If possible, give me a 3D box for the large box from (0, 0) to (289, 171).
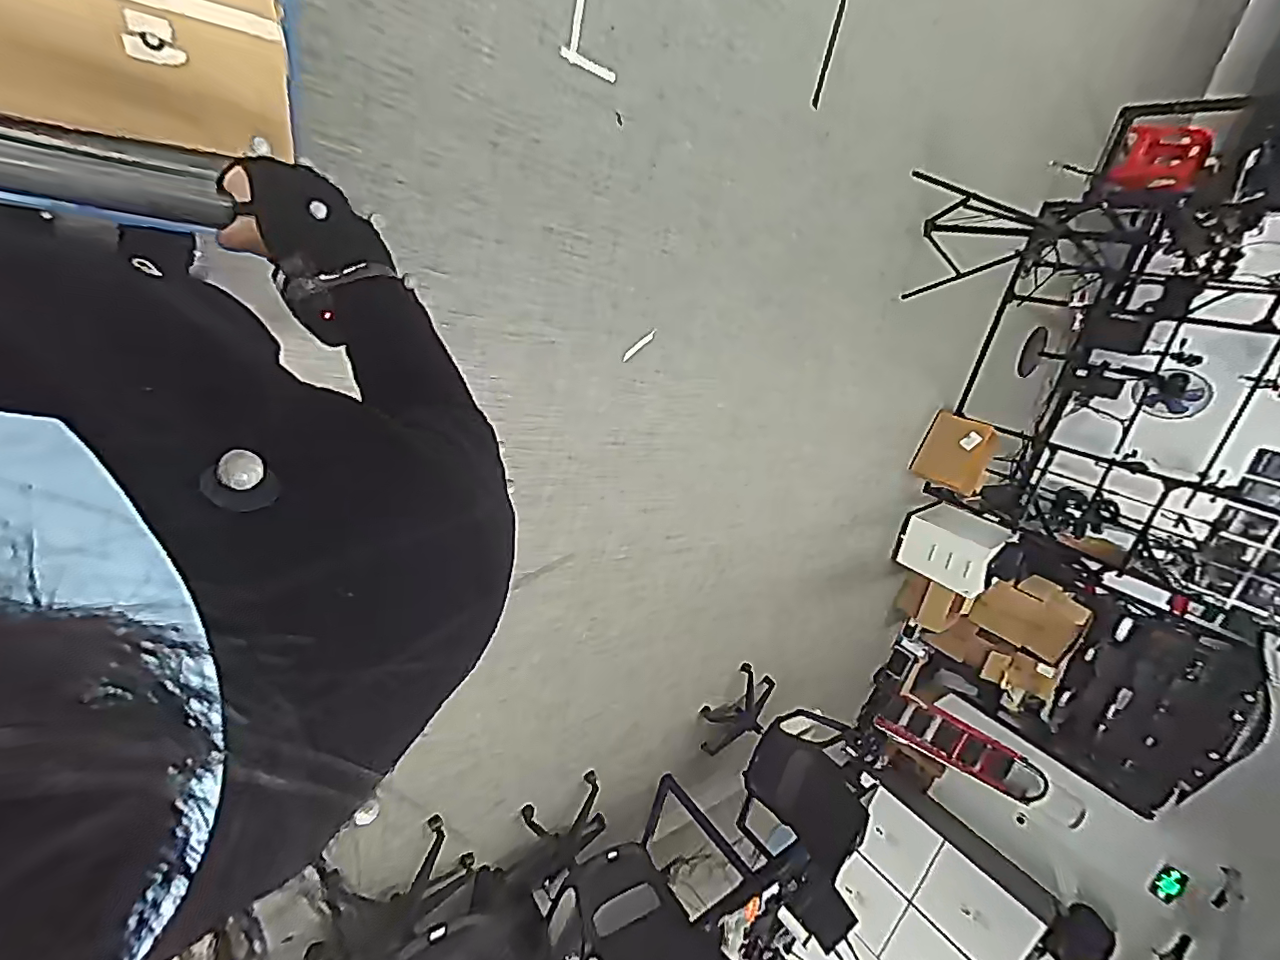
[{"bbox_3d":[-0.736,-0.614,0.702,0.408,0.320,0.320,-11,120,-39],"label":"large box"}]
